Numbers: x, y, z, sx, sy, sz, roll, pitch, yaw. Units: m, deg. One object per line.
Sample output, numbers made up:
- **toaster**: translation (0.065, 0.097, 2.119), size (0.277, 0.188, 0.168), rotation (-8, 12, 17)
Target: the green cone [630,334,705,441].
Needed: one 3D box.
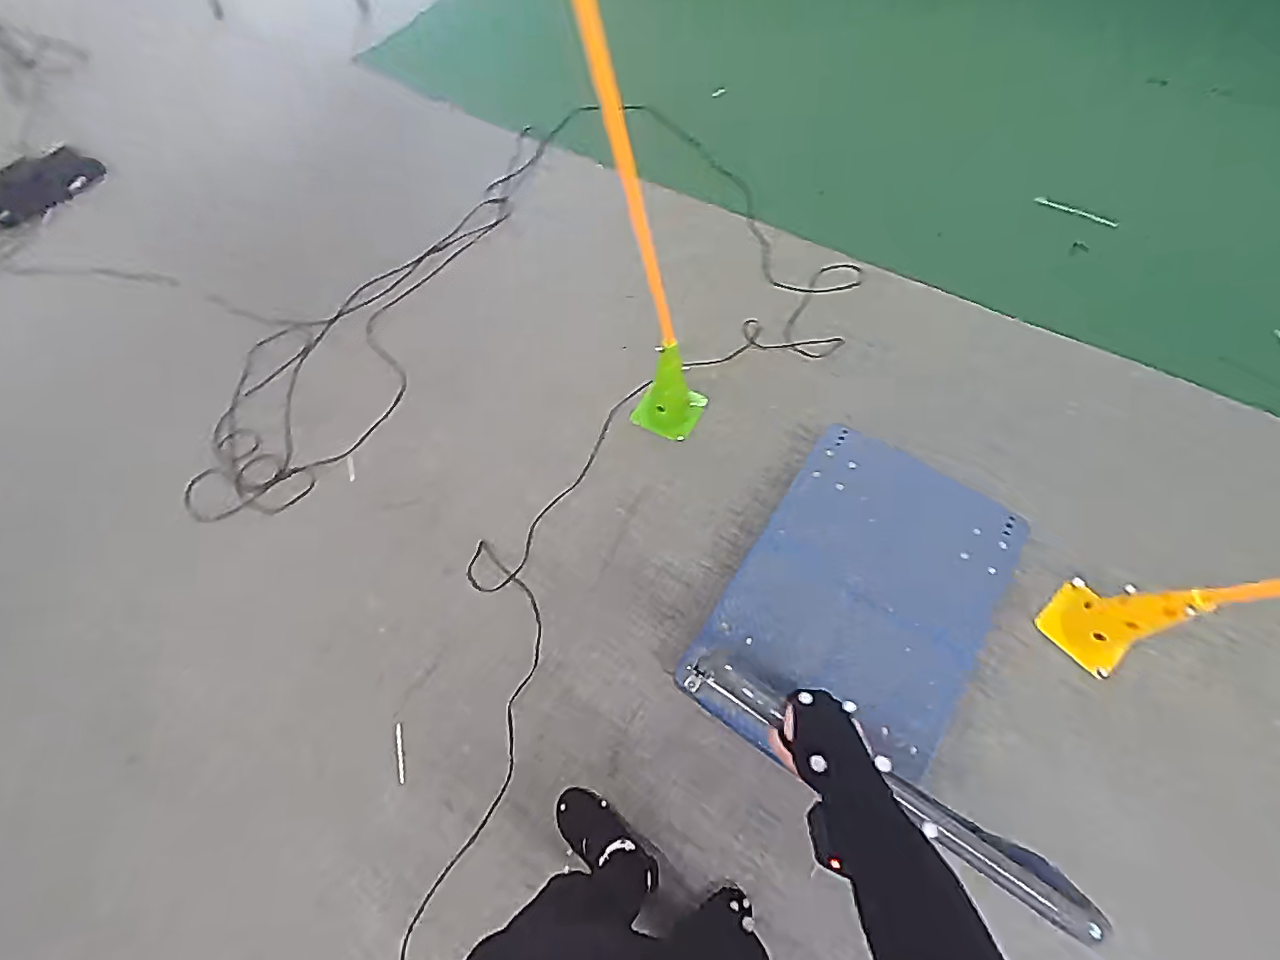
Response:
- **green cone**: translation (0.082, -0.310, 1.641), size (0.202, 0.368, 0.200), rotation (24, 68, 15)
